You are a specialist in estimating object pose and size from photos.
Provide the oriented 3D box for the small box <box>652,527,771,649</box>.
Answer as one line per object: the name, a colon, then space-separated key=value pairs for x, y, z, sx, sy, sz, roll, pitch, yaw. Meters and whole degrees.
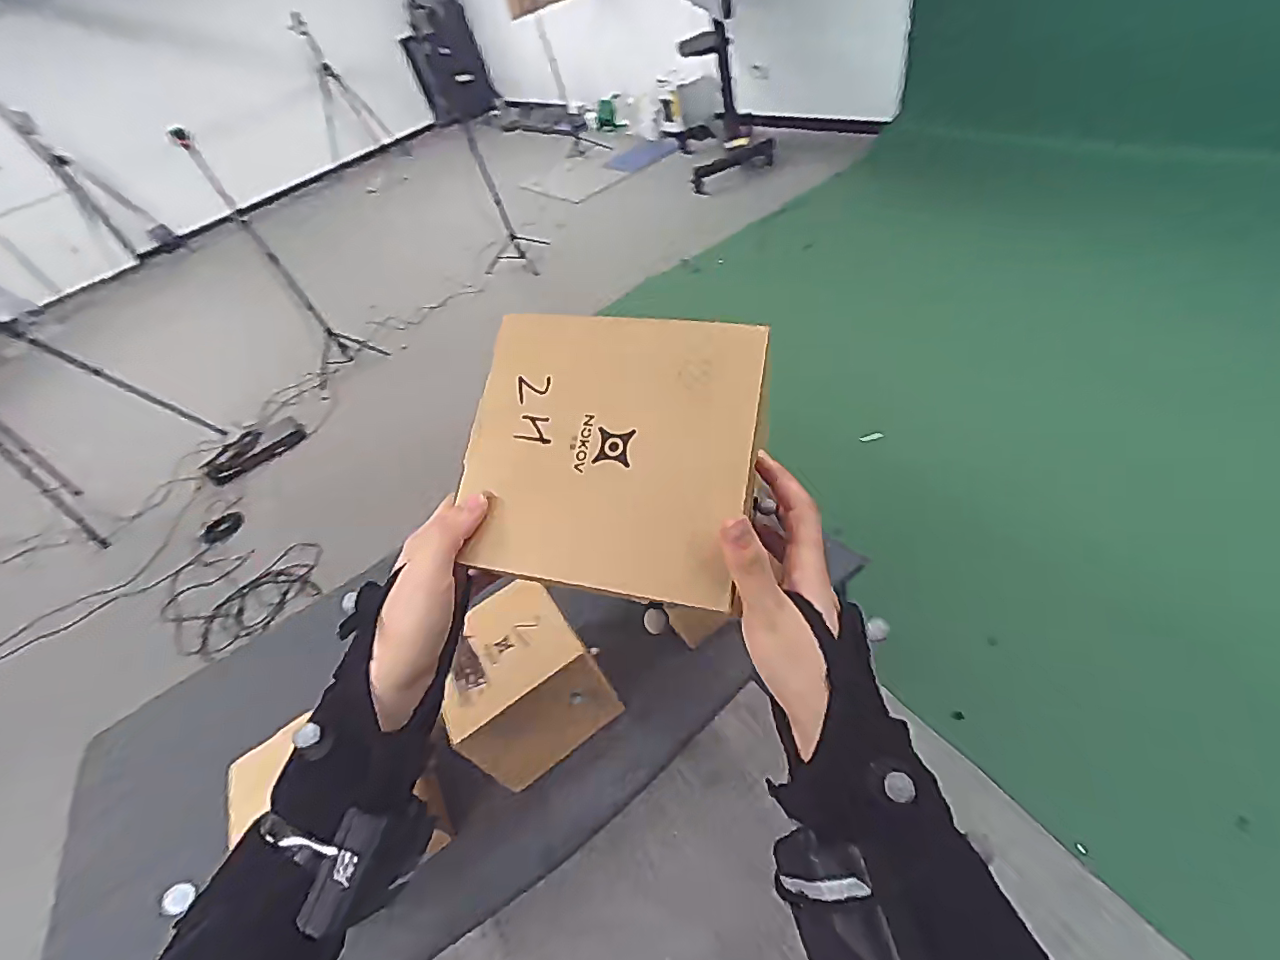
small box: x=0.075 y=0.108 z=0.794 sx=0.179 sy=0.176 sz=0.168 roll=-35 pitch=42 yaw=-12

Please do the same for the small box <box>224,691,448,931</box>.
small box: x=-0.368 y=0.410 z=0.672 sx=0.168 sy=0.176 sz=0.179 roll=-34 pitch=43 yaw=-11

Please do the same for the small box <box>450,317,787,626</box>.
small box: x=0.004 y=0.004 z=0.386 sx=0.179 sy=0.176 sz=0.168 roll=7 pitch=76 yaw=16
